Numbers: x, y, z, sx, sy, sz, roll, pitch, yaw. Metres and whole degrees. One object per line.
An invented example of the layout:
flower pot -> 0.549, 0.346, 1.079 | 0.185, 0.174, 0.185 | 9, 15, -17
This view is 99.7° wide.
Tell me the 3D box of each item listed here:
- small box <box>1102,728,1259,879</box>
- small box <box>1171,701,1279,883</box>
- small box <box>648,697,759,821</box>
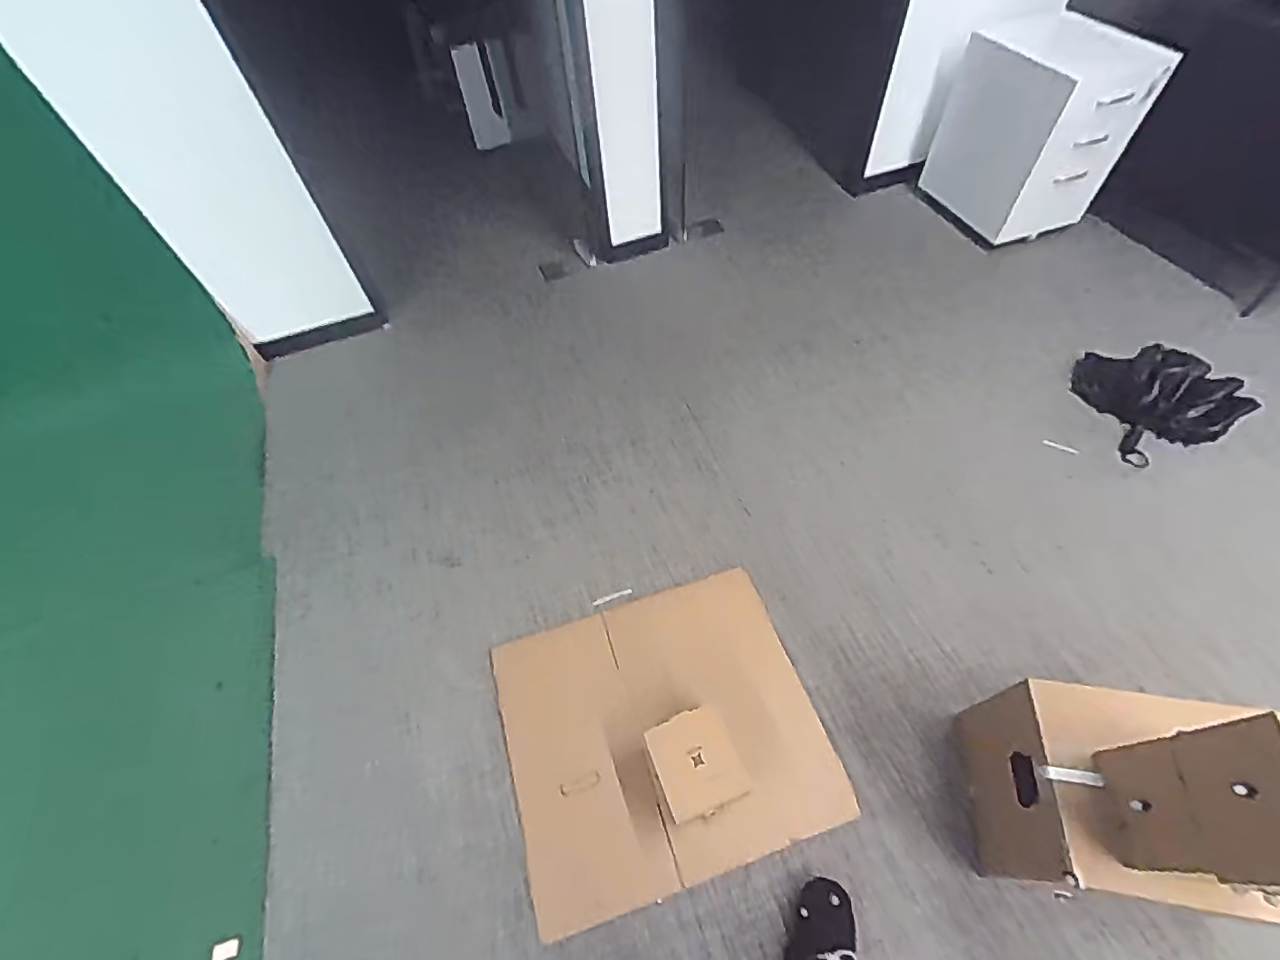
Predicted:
small box -> 0.830, 0.475, 0.789 | 0.179, 0.176, 0.168 | 2, 54, 5
small box -> 0.812, 0.387, 0.647 | 0.168, 0.176, 0.179 | 6, 56, 9
small box -> 0.130, 0.585, 1.128 | 0.168, 0.176, 0.179 | -23, 57, -6
